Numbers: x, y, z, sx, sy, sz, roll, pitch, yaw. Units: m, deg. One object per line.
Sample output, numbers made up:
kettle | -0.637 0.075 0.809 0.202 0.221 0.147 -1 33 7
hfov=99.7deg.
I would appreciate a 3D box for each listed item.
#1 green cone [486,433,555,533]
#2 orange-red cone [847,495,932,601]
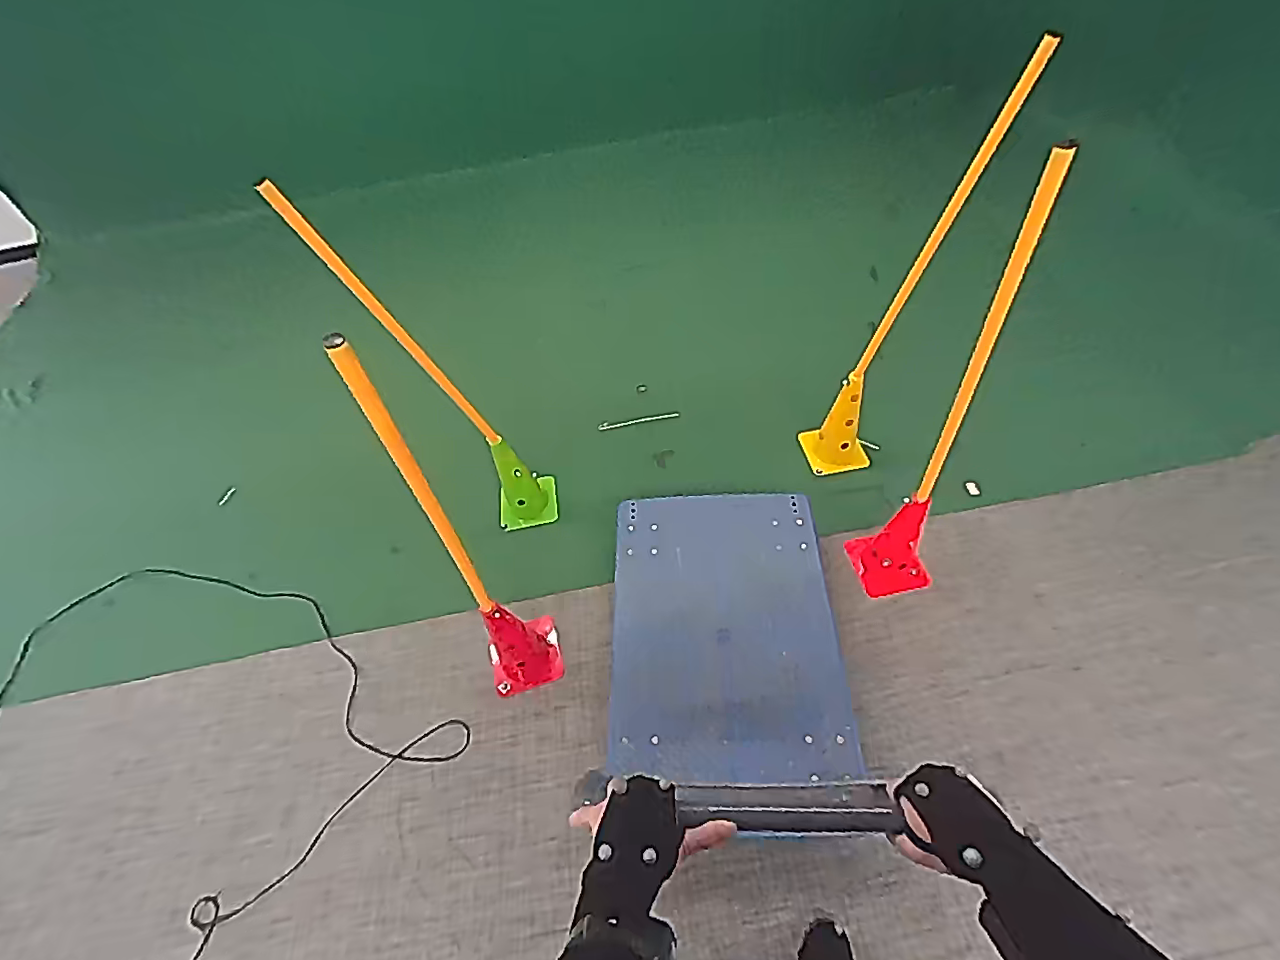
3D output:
green cone | -0.418 -0.014 1.761 0.200 0.368 0.202 -12 52 -1
orange-red cone | 0.729 0.159 1.494 0.198 0.360 0.199 -10 51 -2
